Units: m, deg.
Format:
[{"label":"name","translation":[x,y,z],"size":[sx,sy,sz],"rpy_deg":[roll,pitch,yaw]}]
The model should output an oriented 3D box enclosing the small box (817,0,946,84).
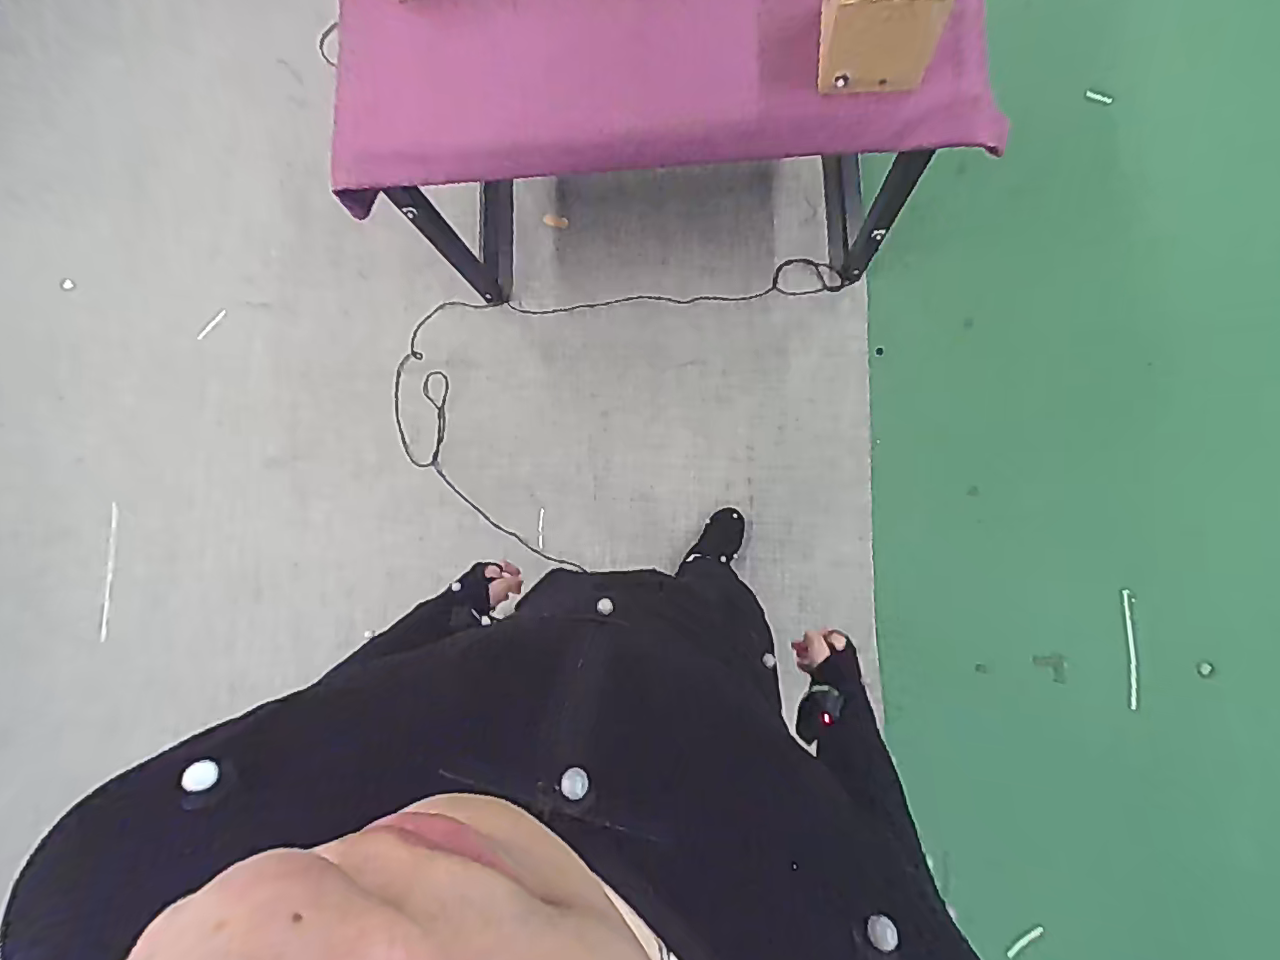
[{"label":"small box","translation":[0.386,-0.778,0.871],"size":[0.168,0.176,0.179],"rpy_deg":[3,83,7]}]
